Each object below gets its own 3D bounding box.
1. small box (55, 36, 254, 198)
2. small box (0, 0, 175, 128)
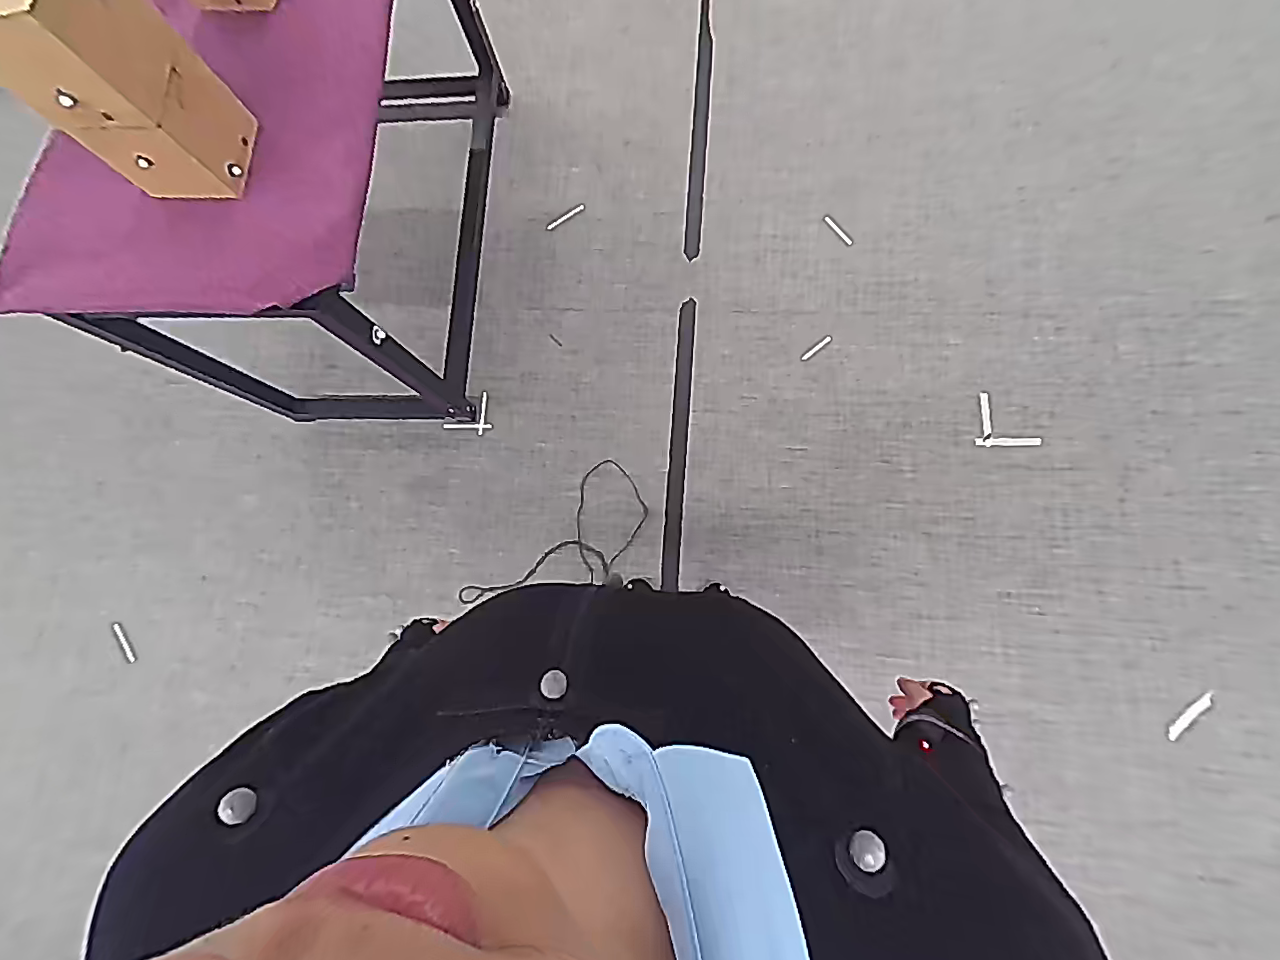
[{"bbox_3d":[-0.810,-0.609,0.924,0.179,0.176,0.168,3,79,5],"label":"small box"},{"bbox_3d":[-0.813,-0.638,0.761,0.168,0.176,0.179,2,79,5],"label":"small box"}]
